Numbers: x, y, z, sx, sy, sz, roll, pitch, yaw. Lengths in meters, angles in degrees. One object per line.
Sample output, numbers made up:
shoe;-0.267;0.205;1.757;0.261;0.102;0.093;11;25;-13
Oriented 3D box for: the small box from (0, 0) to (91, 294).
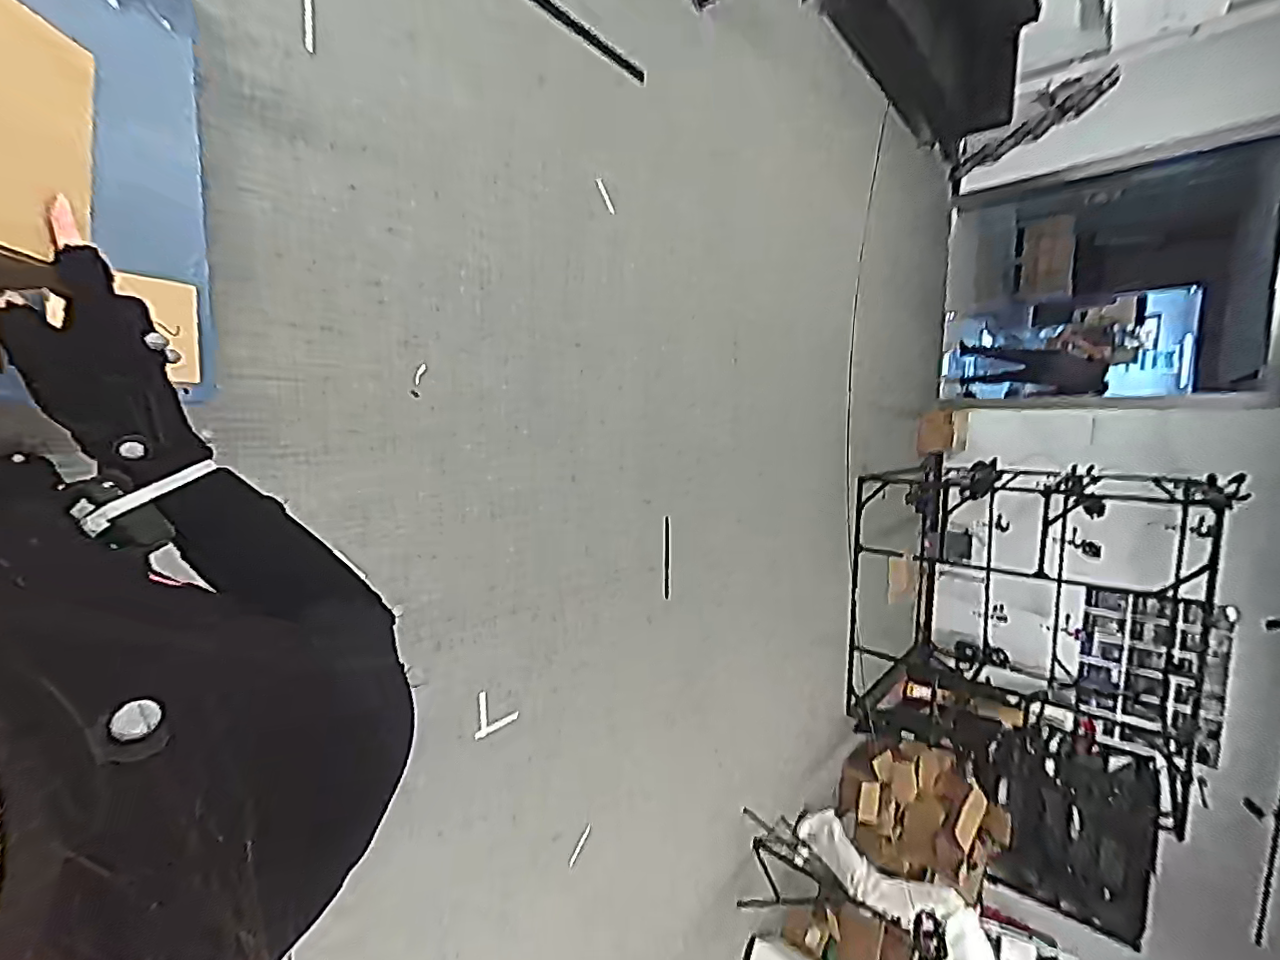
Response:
small box;-0.475;-0.217;0.303;0.179;0.168;0.176;10;76;-80
